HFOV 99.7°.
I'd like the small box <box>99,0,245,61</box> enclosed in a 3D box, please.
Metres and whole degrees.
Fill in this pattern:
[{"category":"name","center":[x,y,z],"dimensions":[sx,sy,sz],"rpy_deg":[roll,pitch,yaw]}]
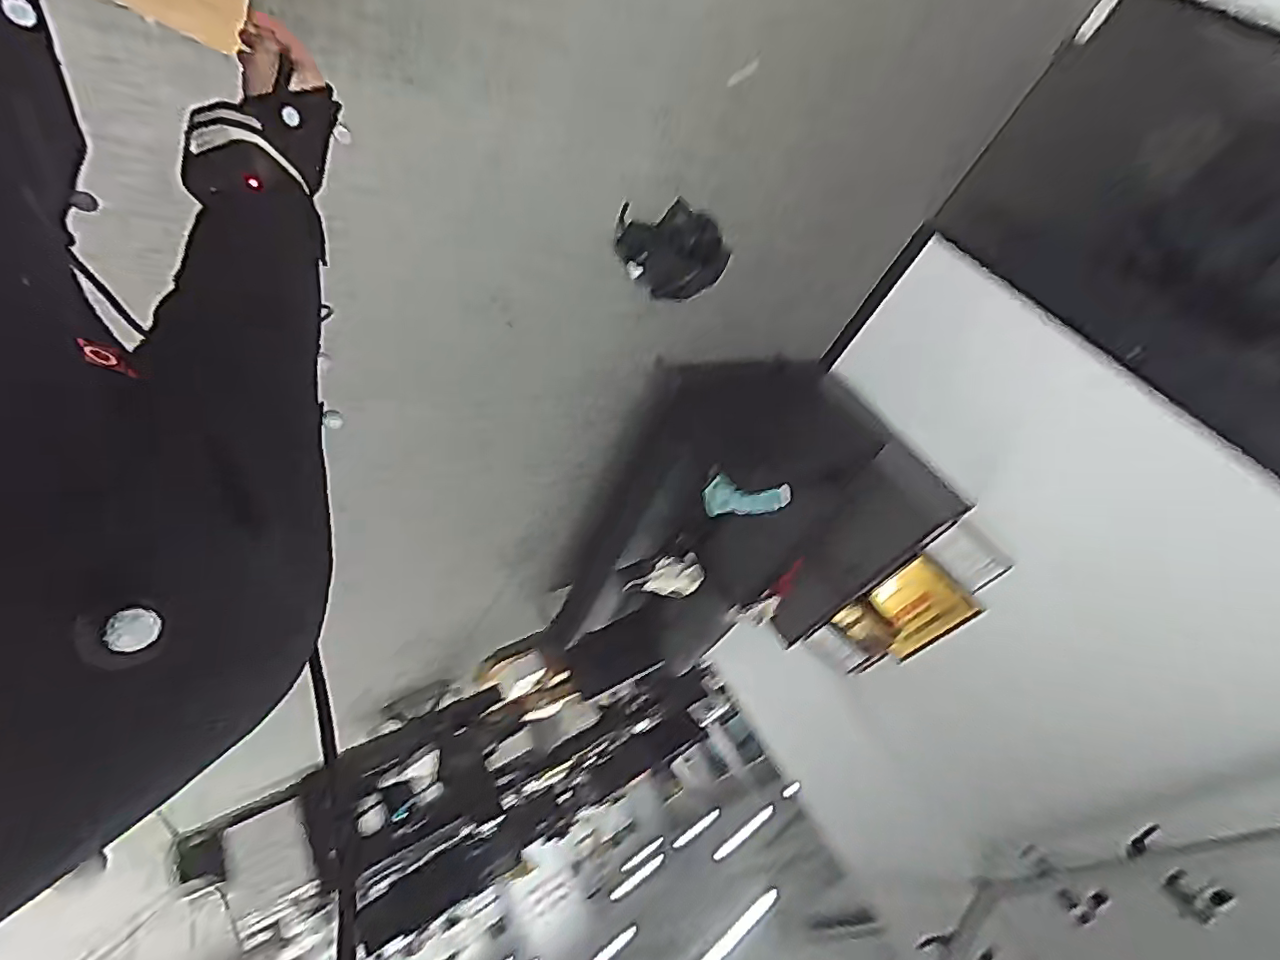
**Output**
[{"category":"small box","center":[-0.664,-0.740,0.740],"dimensions":[0.179,0.176,0.168],"rpy_deg":[-1,140,-50]}]
